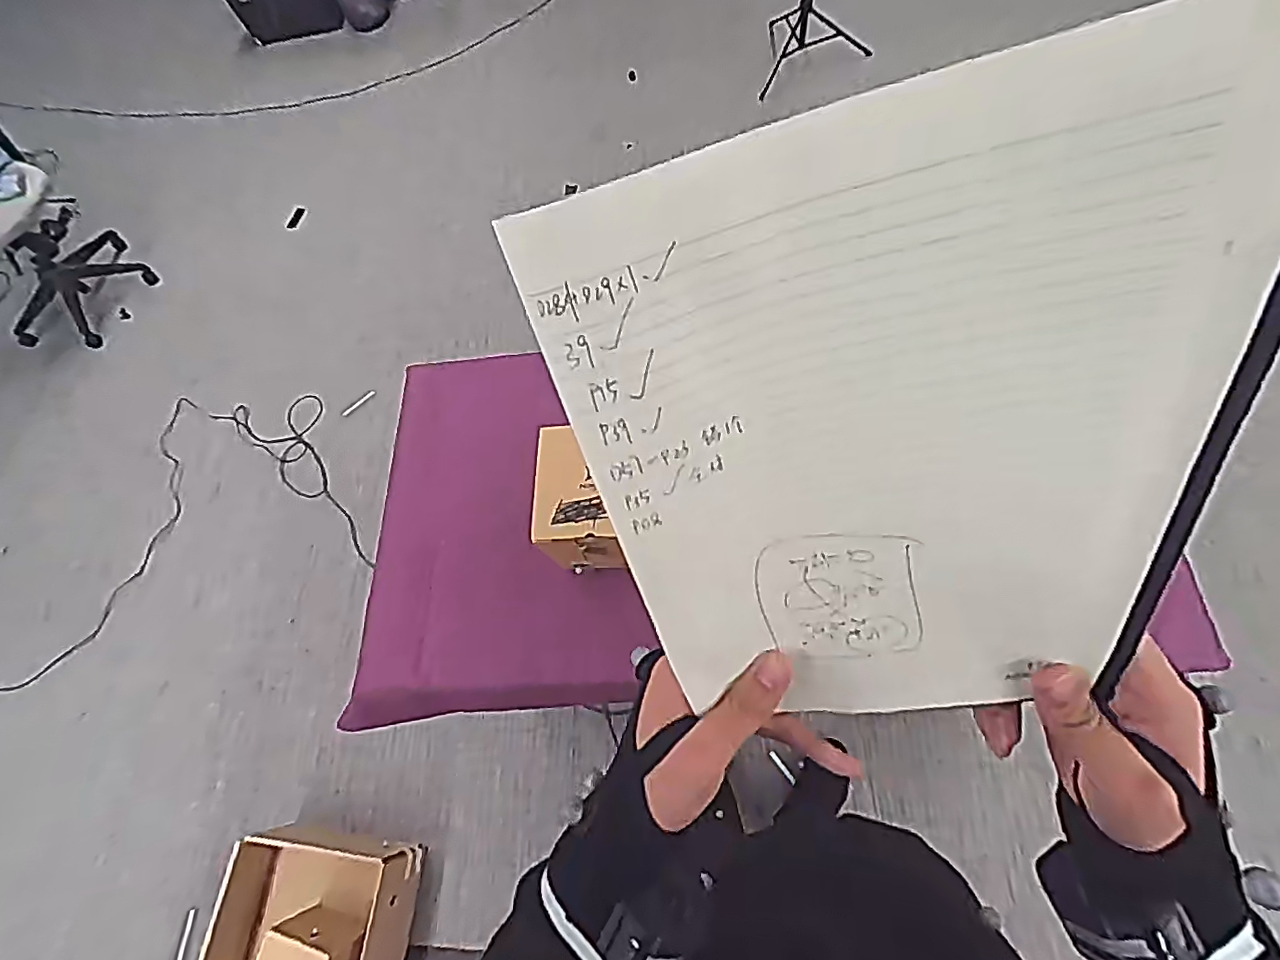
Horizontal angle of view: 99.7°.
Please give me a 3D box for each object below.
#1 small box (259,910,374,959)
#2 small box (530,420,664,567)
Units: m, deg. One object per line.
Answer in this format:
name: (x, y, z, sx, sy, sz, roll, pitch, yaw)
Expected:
small box: (-0.745, 1.120, 1.225, 0.179, 0.176, 0.168, 9, 70, 13)
small box: (-0.054, 0.030, 0.811, 0.168, 0.176, 0.179, -3, 67, 8)
